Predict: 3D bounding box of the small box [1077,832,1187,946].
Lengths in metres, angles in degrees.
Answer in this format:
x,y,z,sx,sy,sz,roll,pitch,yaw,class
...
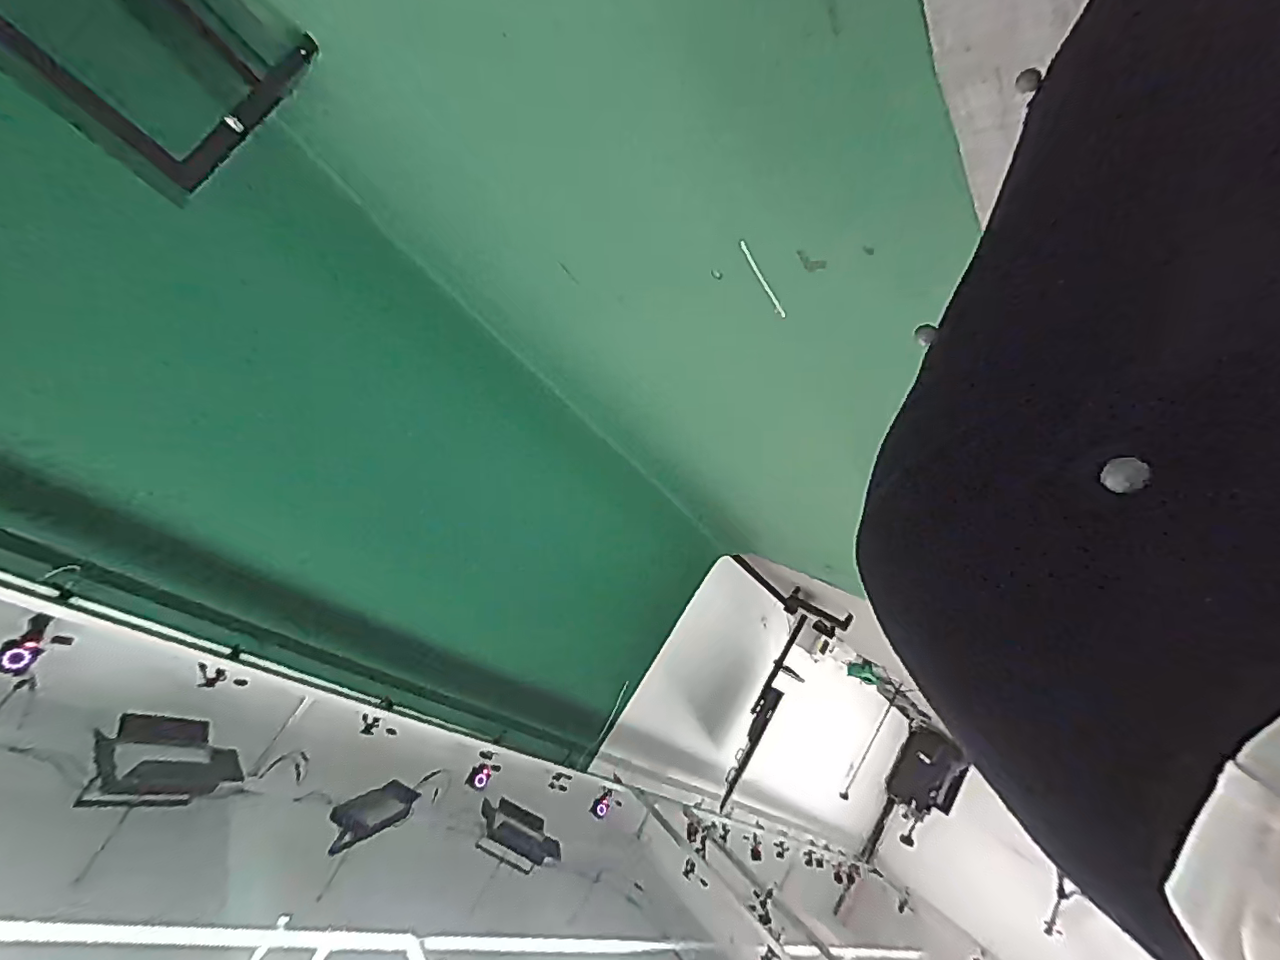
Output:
x,y,z,sx,sy,sz,roll,pitch,yaw,class
1.295,1.071,1.428,0.179,0.176,0.168,22,163,45,small box
